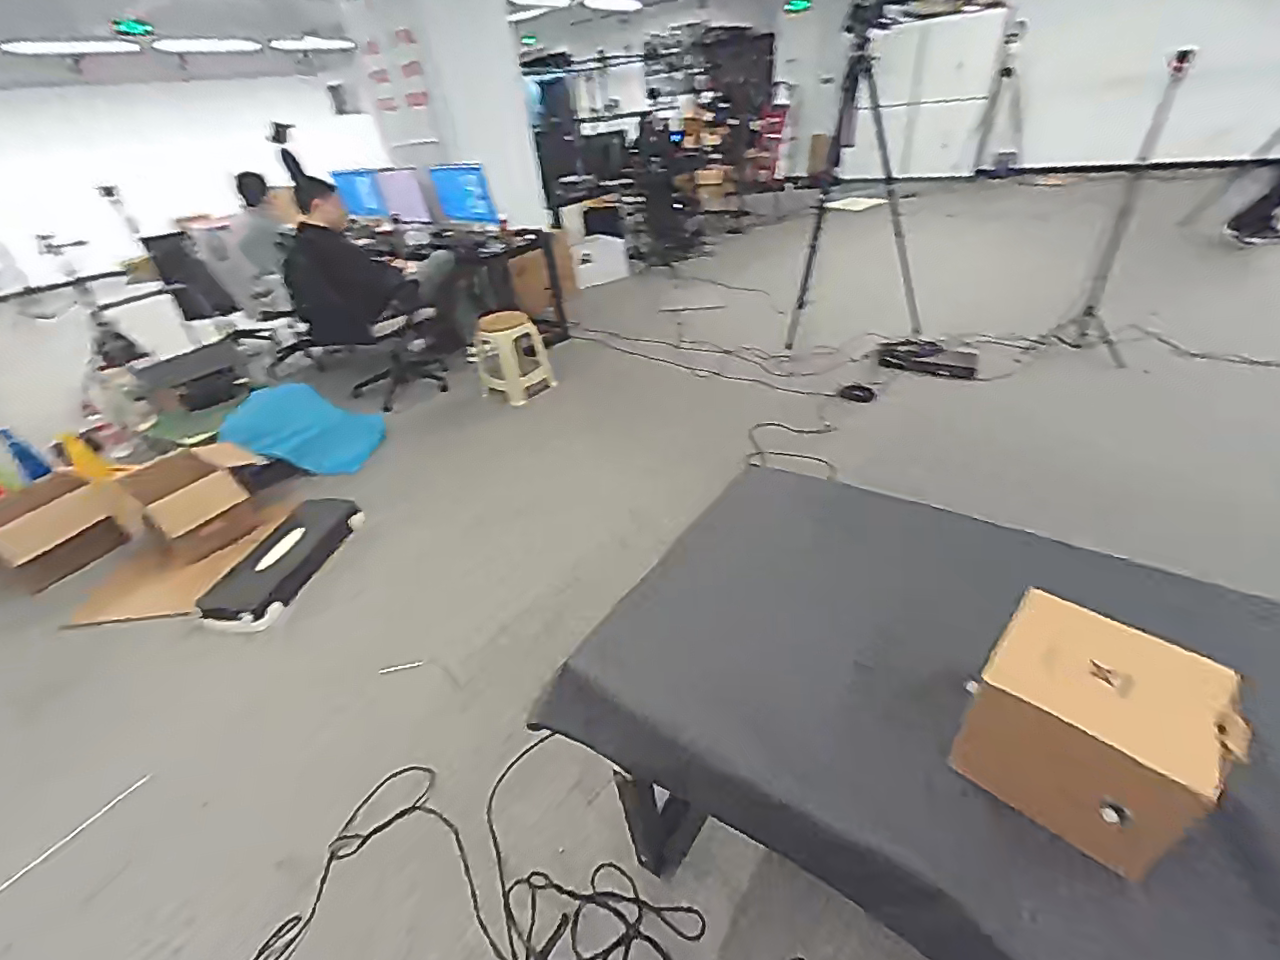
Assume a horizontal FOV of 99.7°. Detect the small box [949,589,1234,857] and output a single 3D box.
[{"bbox_3d":[0.467,0.257,0.579,0.179,0.176,0.168,25,45,39],"label":"small box"}]
